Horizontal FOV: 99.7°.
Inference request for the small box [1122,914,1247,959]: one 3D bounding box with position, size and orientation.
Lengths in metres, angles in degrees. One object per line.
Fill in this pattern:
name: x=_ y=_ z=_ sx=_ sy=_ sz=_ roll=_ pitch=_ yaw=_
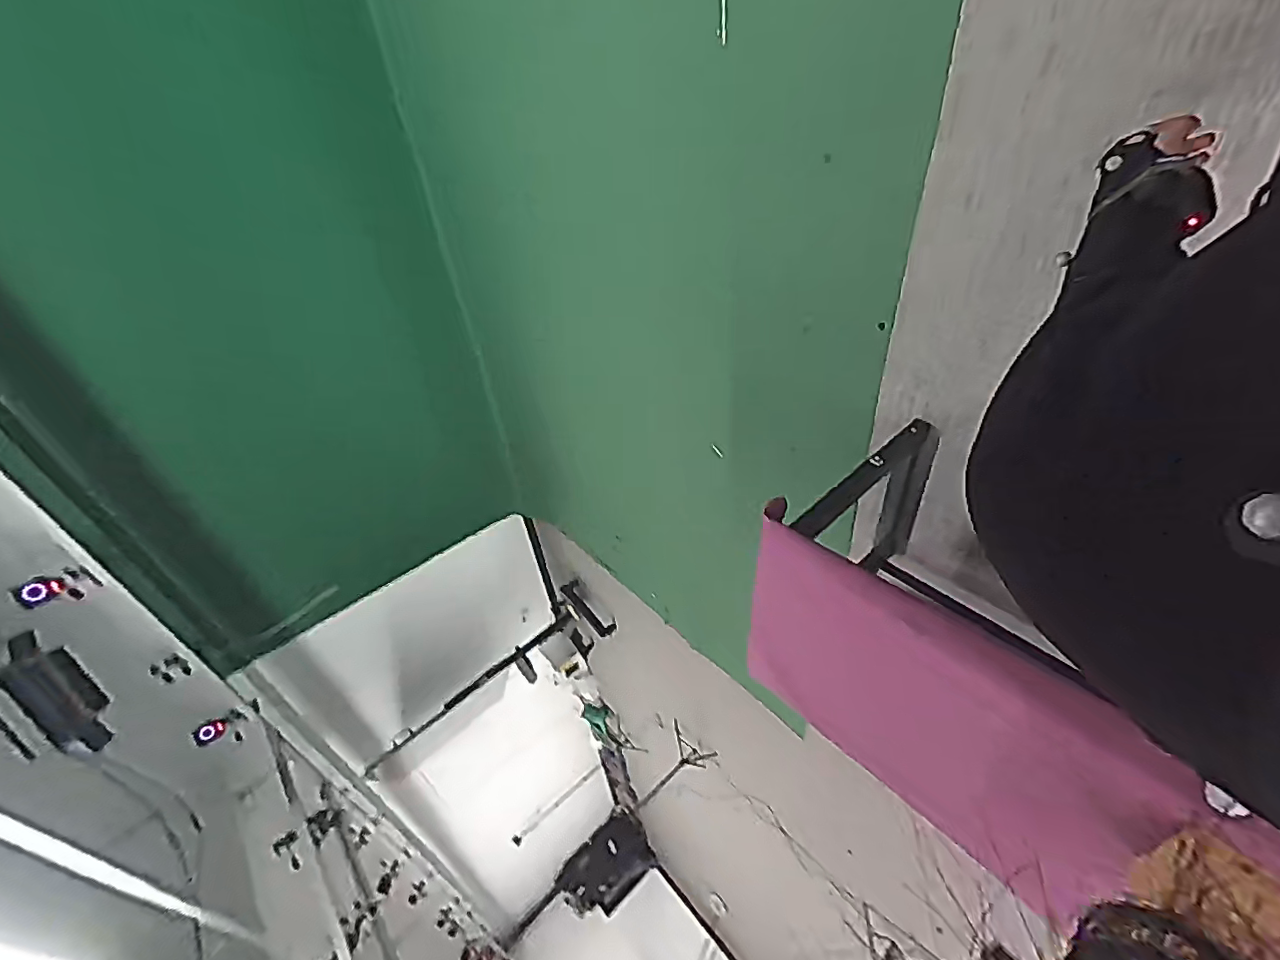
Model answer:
small box: x=0.730 y=0.718 z=0.693 sx=0.168 sy=0.176 sz=0.179 roll=29 pitch=142 yaw=41
